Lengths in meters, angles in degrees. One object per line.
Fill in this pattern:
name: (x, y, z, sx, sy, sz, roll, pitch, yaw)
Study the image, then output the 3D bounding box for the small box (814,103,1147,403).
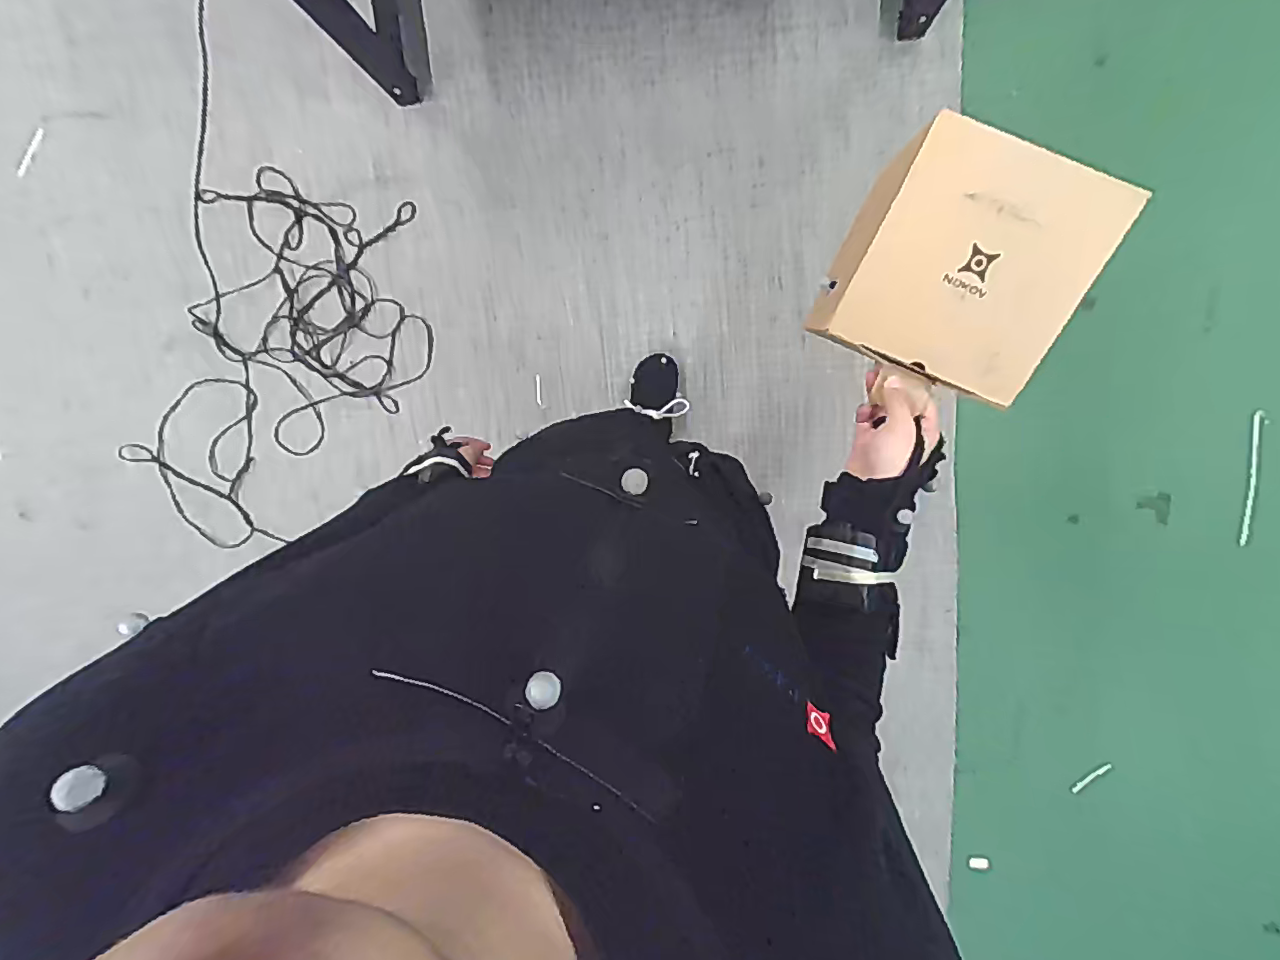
small box: (0.276, -0.192, 0.495, 0.168, 0.176, 0.179, 23, 109, 2)
